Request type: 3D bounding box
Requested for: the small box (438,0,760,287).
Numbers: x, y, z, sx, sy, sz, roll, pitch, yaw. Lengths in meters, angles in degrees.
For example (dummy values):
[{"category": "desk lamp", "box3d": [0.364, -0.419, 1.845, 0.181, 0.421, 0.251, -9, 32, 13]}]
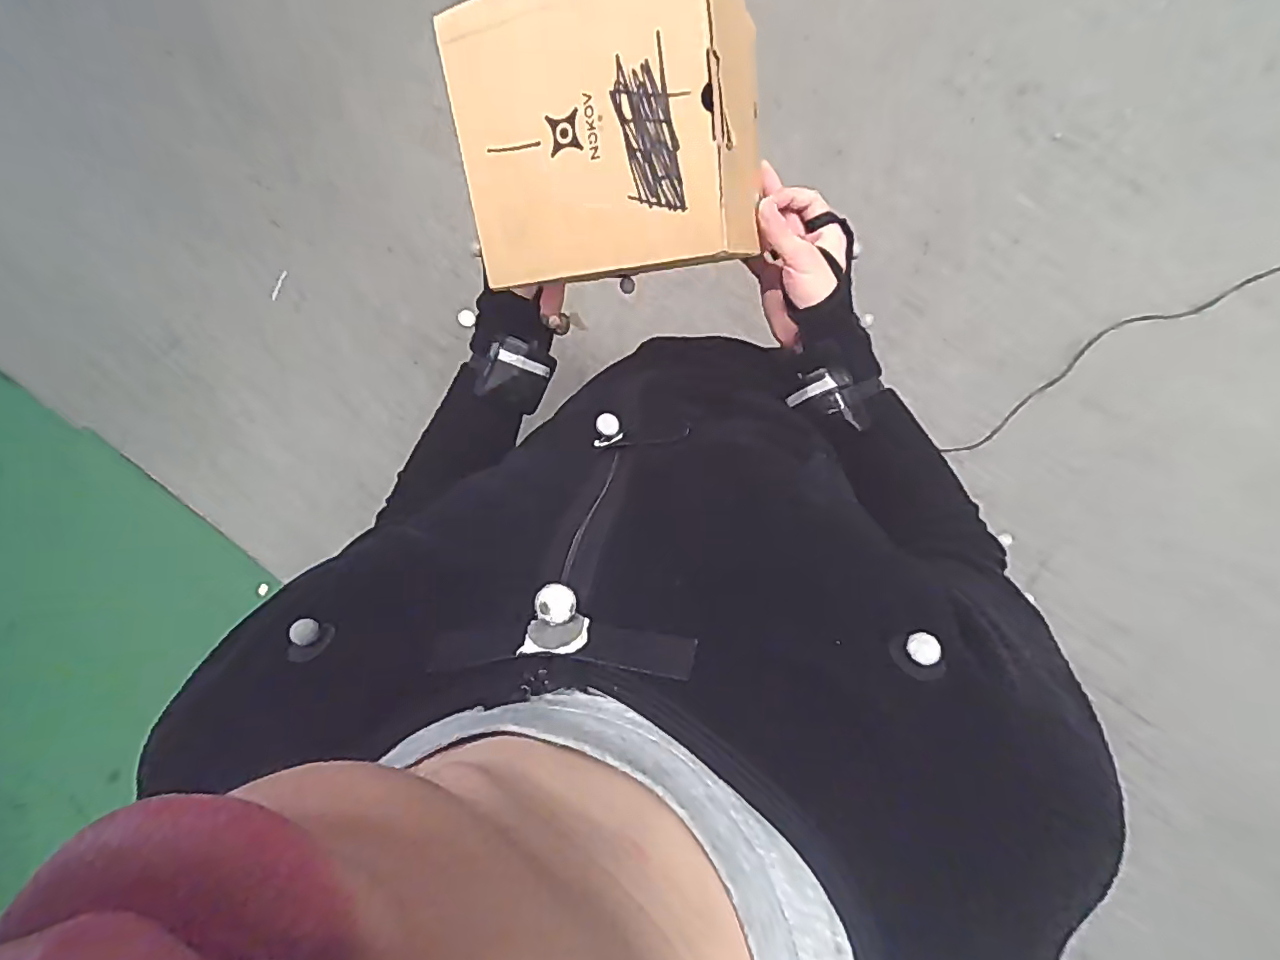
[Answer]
[{"category": "small box", "box3d": [-0.009, -0.244, 0.402, 0.179, 0.176, 0.168, 0, 111, 22]}]
